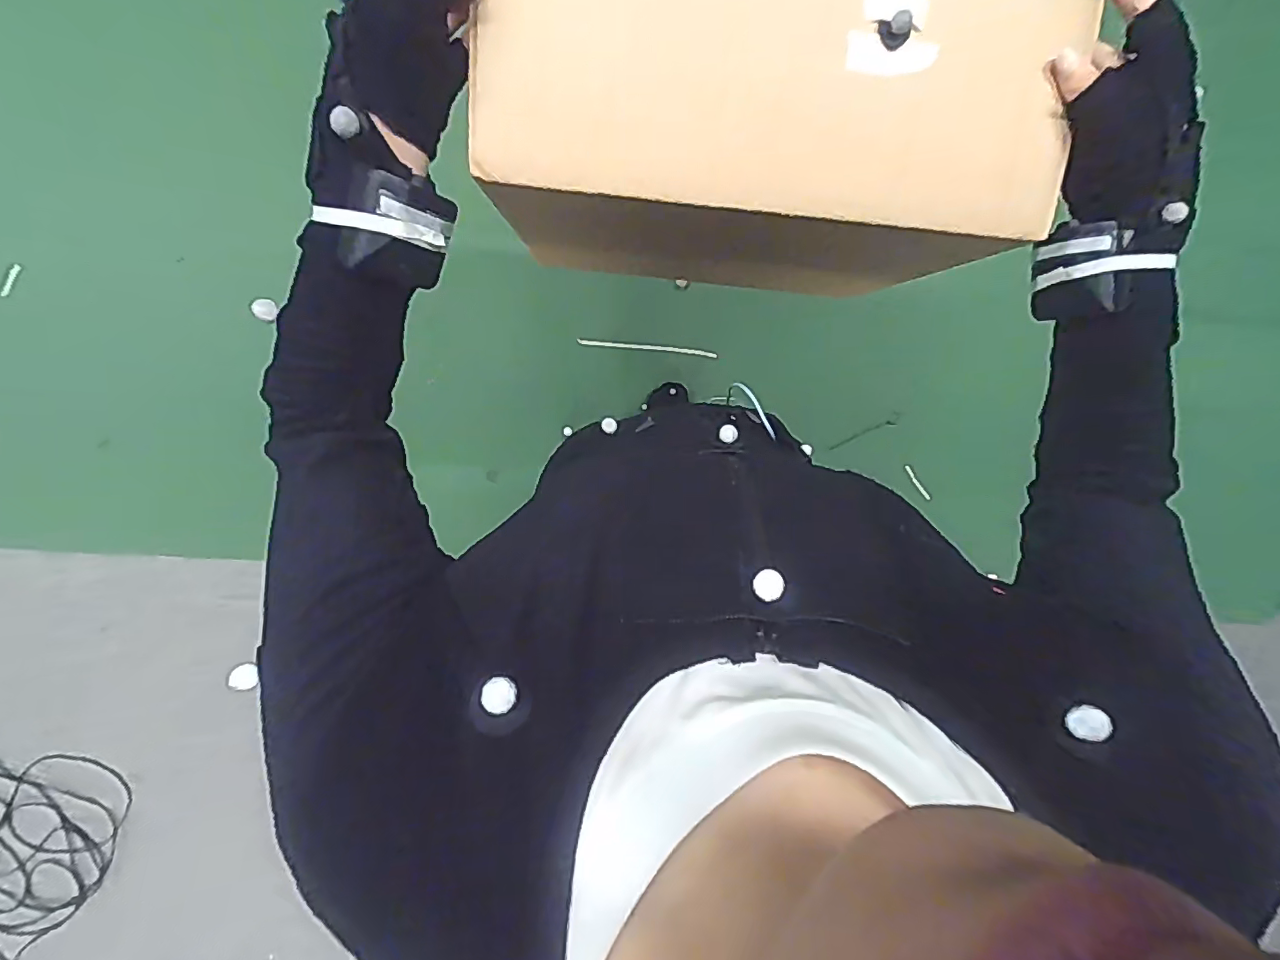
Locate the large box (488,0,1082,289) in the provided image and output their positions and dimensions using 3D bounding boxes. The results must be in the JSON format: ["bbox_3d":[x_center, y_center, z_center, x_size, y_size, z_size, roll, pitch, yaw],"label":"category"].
[{"bbox_3d":[0.094,-0.372,0.500,0.408,0.320,0.320,4,102,-3],"label":"large box"}]
